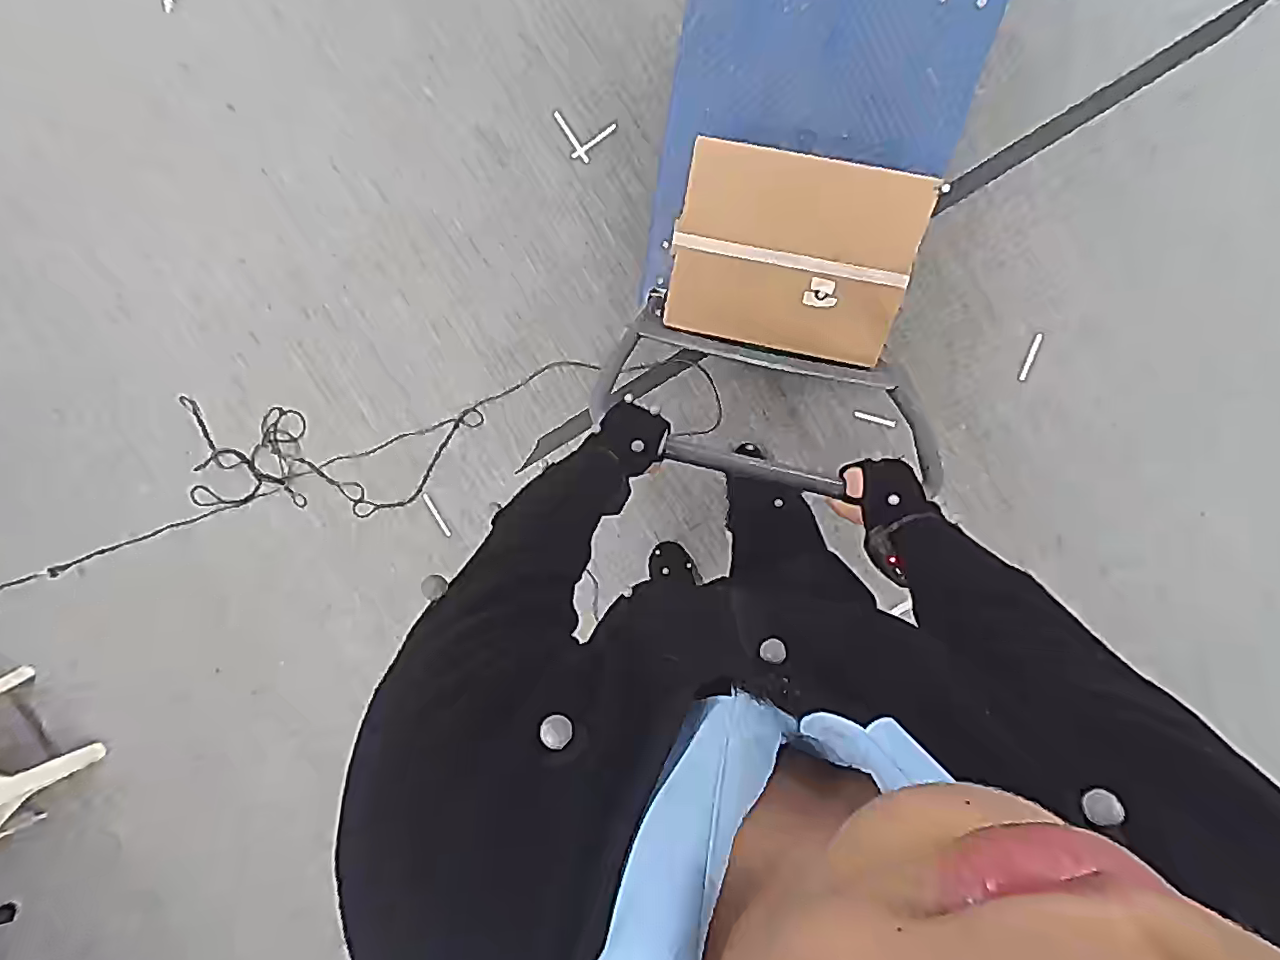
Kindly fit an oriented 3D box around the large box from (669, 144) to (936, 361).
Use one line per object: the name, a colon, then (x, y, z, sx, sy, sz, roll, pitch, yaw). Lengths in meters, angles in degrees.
large box: (0.288, -0.456, 1.090, 0.408, 0.320, 0.320, 11, 118, 4)
